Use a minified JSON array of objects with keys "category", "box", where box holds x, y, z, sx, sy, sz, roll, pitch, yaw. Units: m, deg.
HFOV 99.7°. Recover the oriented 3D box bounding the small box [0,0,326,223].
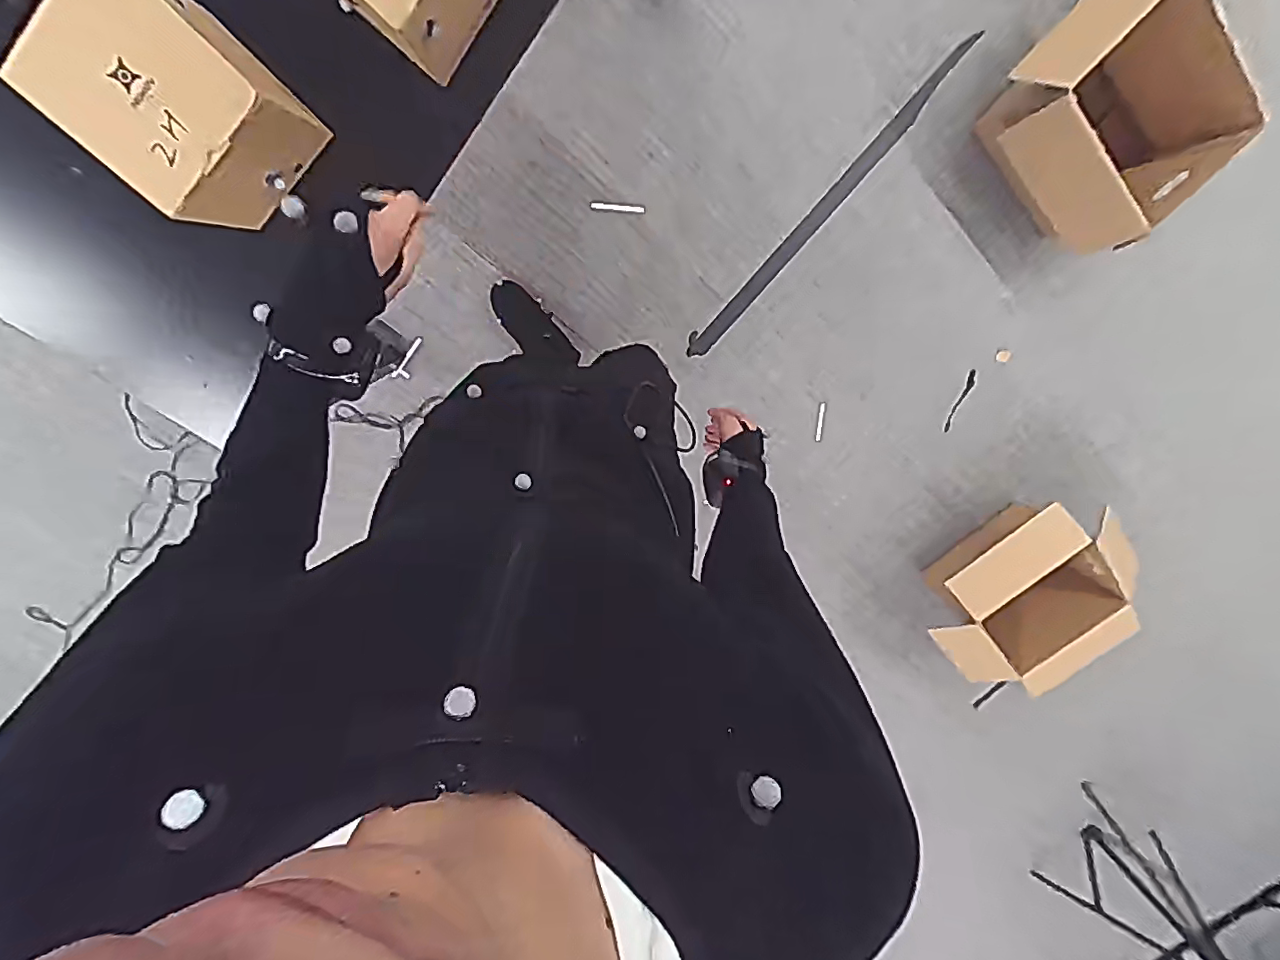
[{"category":"small box","box":[-0.501,-0.412,0.599,0.168,0.176,0.179,-43,109,11]}]
